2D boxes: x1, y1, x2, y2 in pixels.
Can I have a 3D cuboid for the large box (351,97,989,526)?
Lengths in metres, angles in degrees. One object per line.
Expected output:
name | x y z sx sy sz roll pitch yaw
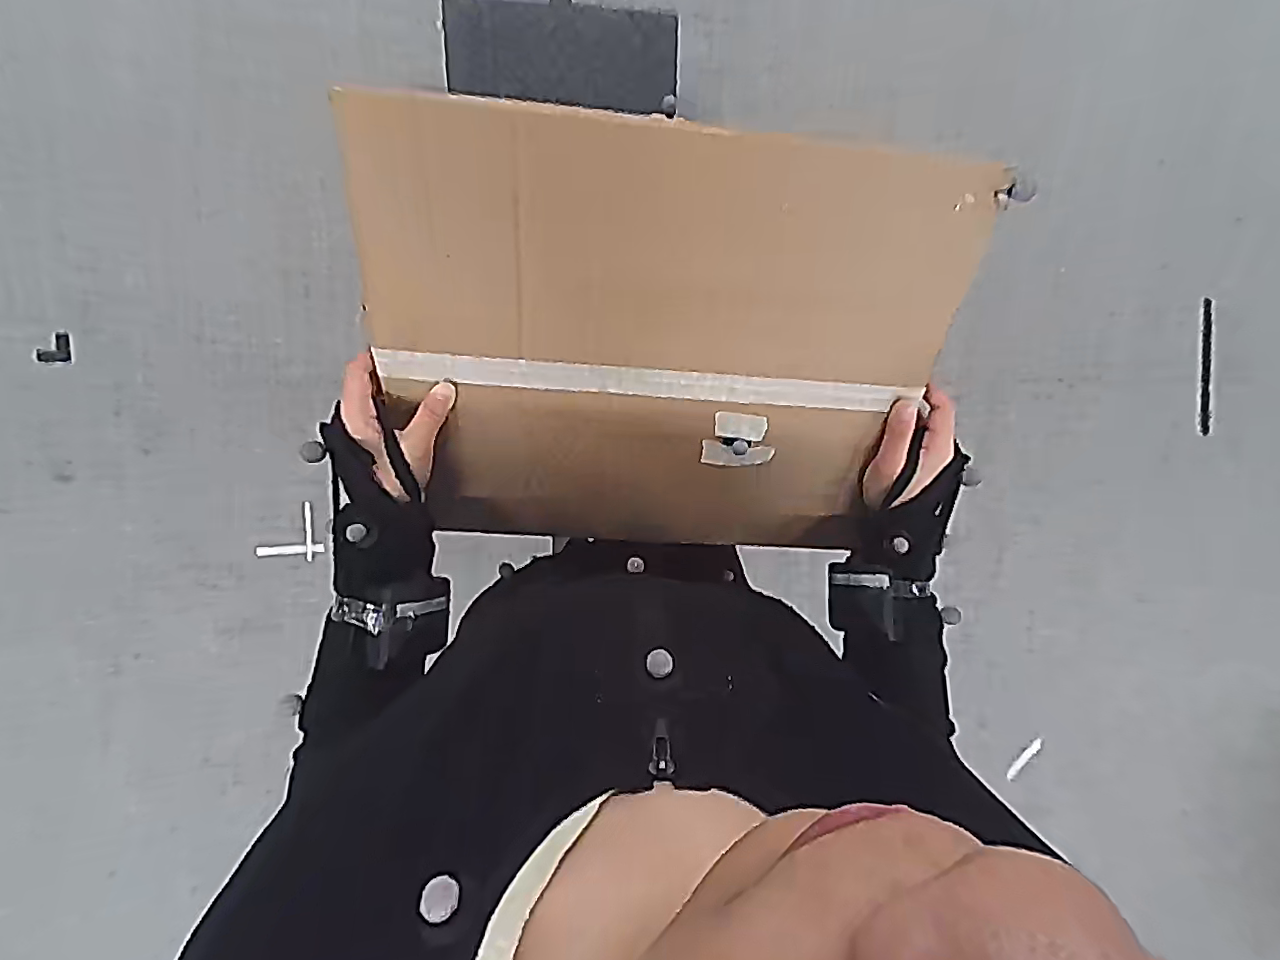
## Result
large box | 0.006 -0.170 0.534 0.408 0.320 0.320 2 125 -6
